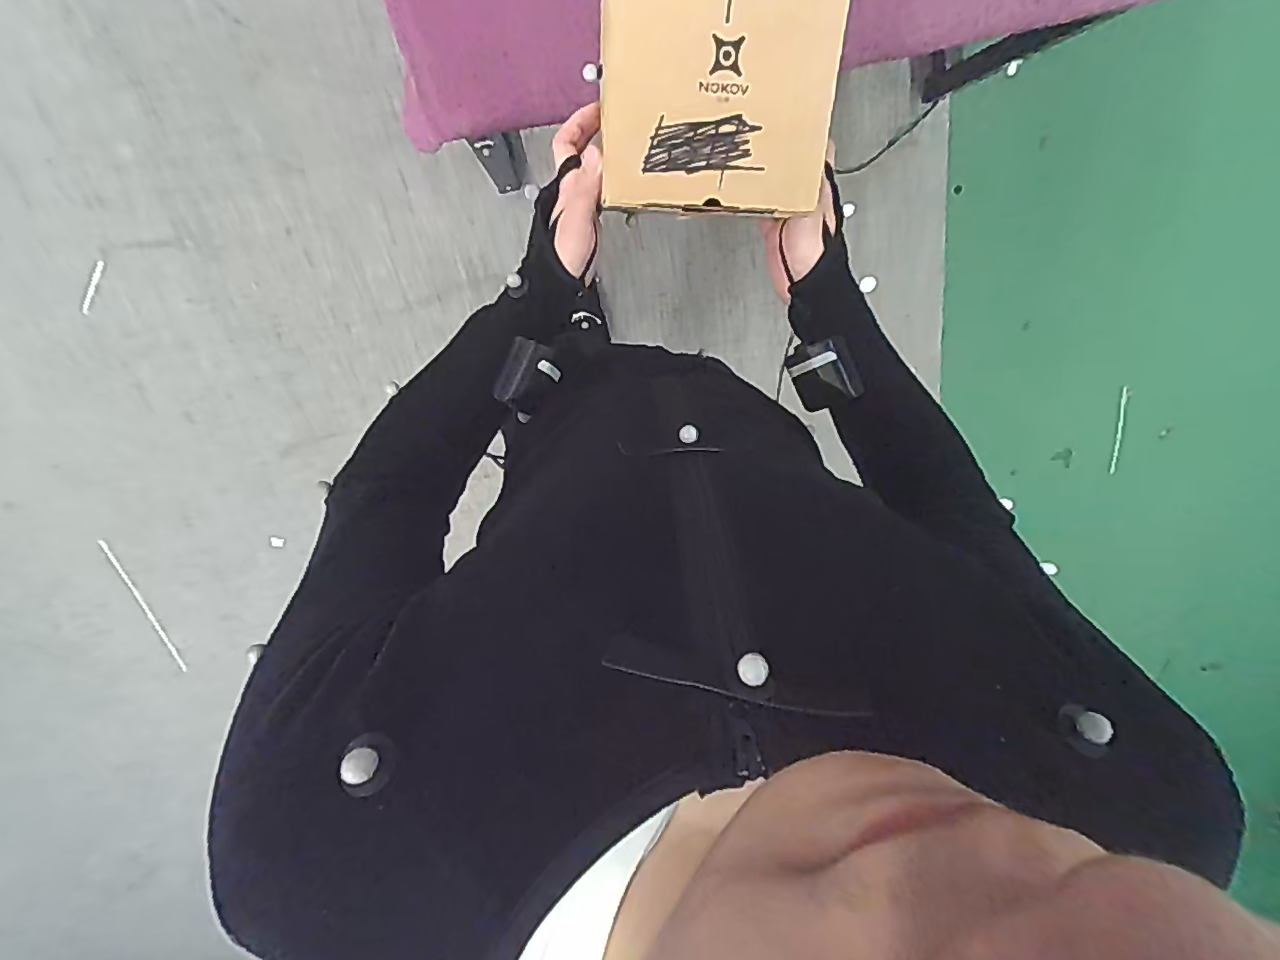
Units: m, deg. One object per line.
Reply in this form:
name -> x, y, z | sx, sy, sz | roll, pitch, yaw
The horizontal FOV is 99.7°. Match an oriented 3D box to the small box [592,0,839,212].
small box -> 0.045, -0.321, 0.445 | 0.168, 0.176, 0.179 | 0, 115, -5
